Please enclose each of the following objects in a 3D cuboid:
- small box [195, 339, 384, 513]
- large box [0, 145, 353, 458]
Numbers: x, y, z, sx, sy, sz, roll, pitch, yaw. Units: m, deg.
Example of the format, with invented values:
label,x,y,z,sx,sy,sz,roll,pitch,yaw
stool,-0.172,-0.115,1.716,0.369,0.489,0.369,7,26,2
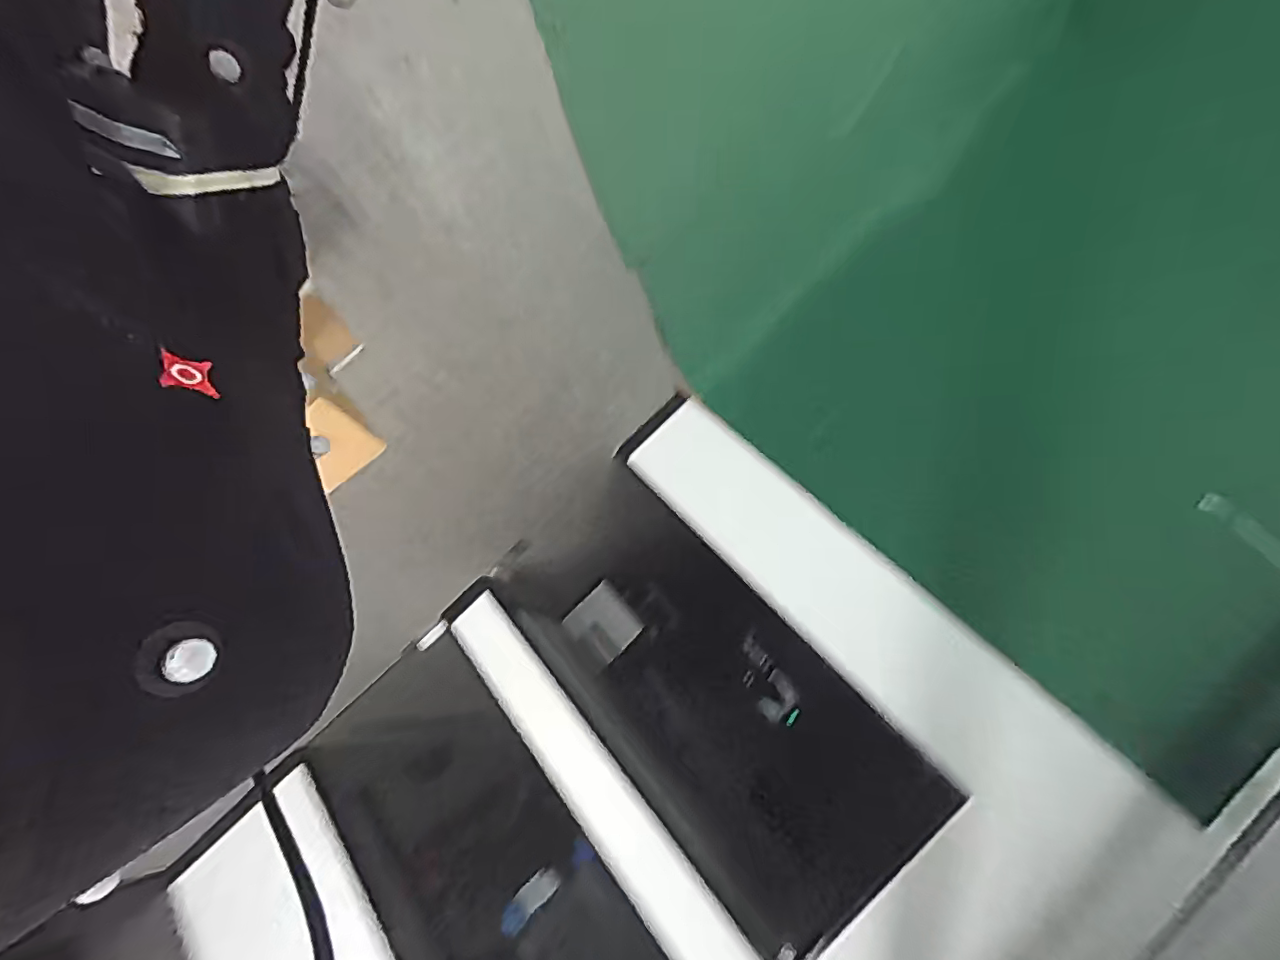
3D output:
label,x,y,z,sx,sy,sz,roll,pitch,yaw
small box,-0.560,-0.085,0.863,0.179,0.176,0.168,-41,156,-8
large box,-0.854,-0.326,1.014,0.408,0.320,0.320,-39,154,-10
